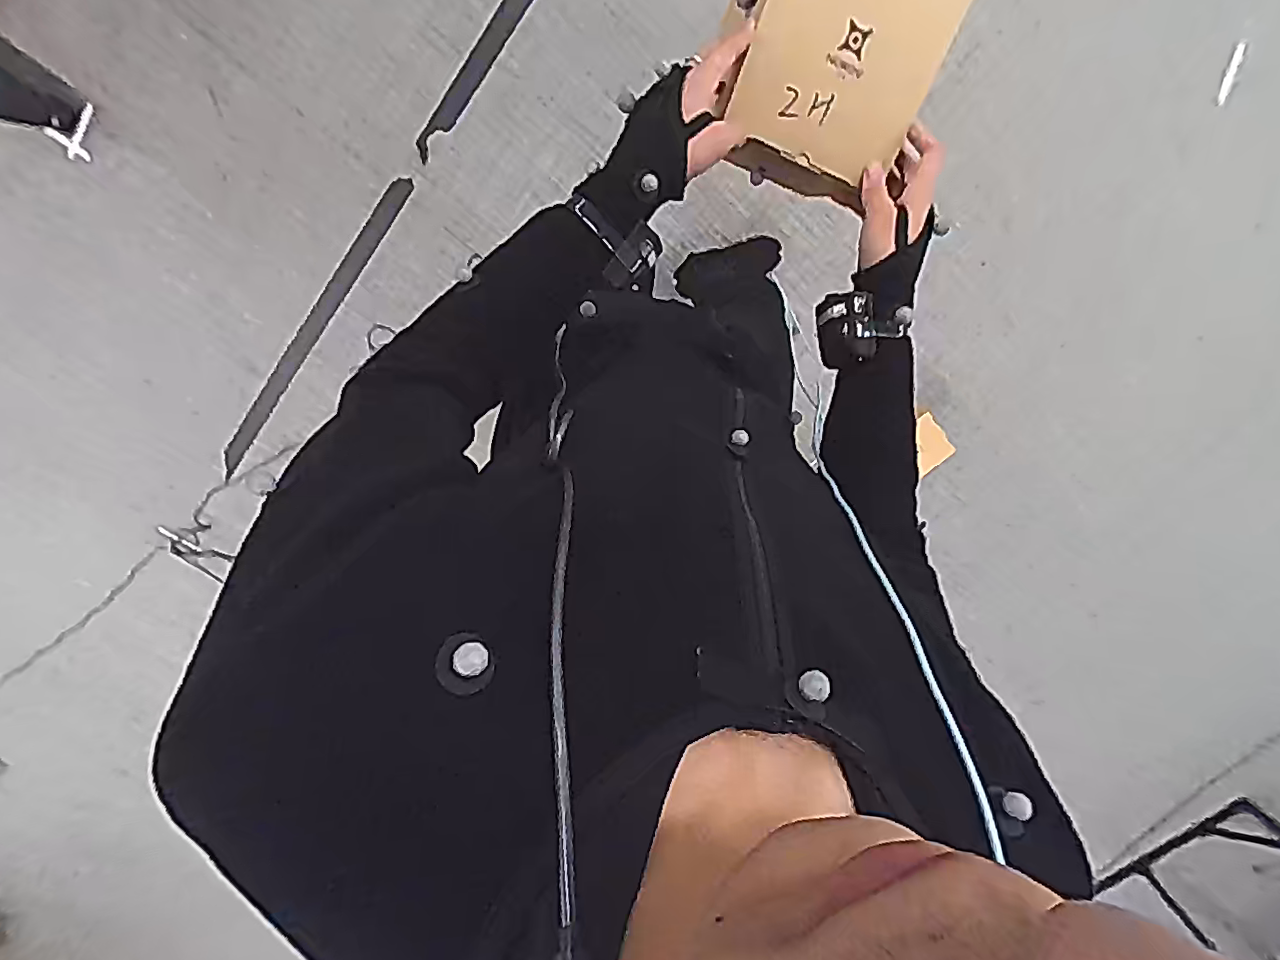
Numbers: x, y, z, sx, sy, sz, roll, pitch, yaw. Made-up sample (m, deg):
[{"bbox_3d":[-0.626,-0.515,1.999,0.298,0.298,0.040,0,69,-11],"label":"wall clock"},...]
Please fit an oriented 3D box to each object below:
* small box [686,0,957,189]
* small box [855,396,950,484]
[{"bbox_3d":[0.157,-0.404,0.522,0.168,0.176,0.179,14,115,-15],"label":"small box"},{"bbox_3d":[0.773,-0.125,1.621,0.179,0.176,0.168,-41,110,12],"label":"small box"}]
